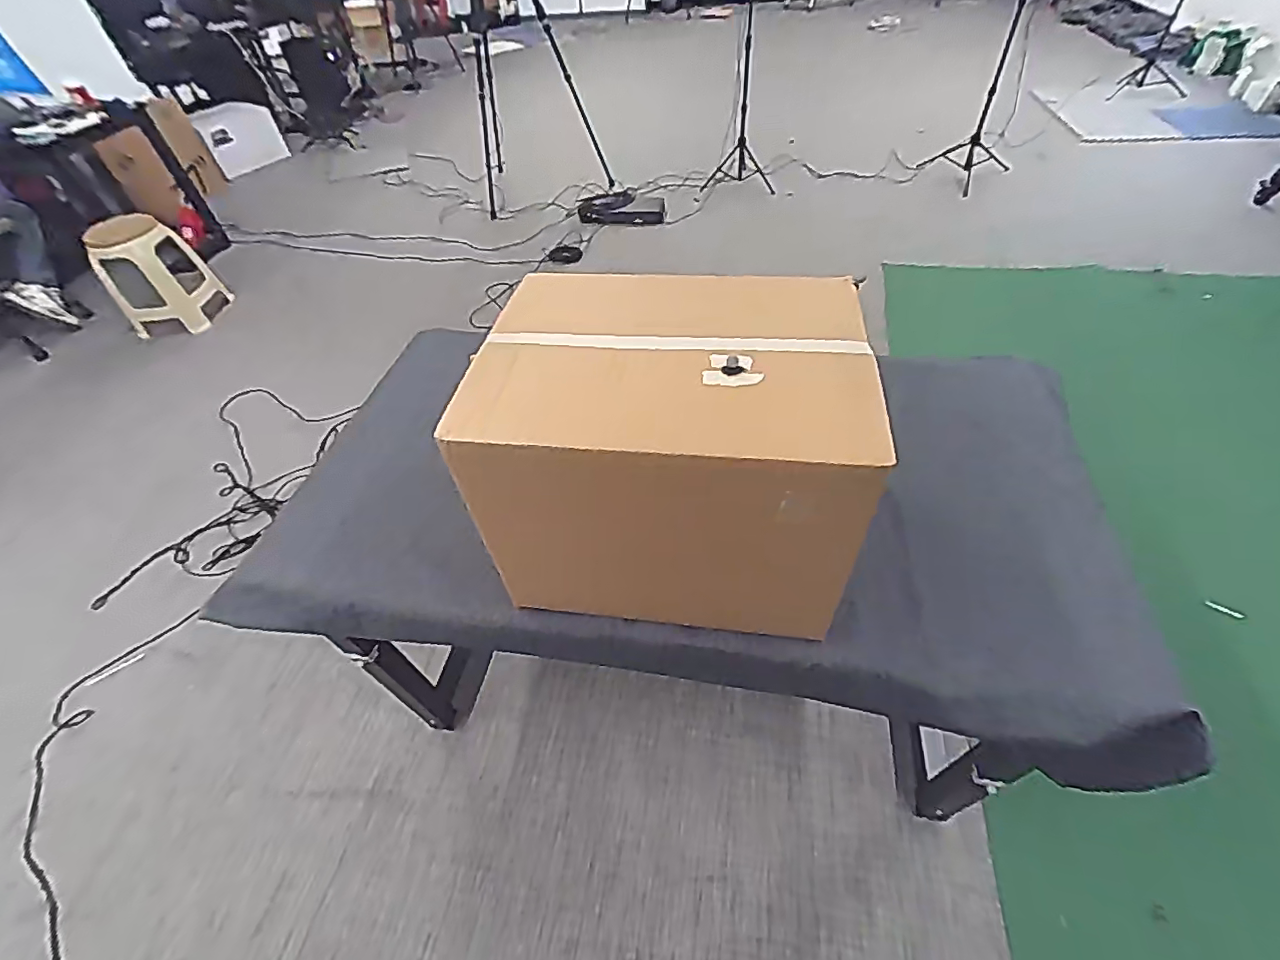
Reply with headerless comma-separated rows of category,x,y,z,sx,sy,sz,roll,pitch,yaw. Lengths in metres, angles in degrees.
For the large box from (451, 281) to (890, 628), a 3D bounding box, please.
large box,0.042,-0.036,0.687,0.408,0.320,0.320,4,48,8
